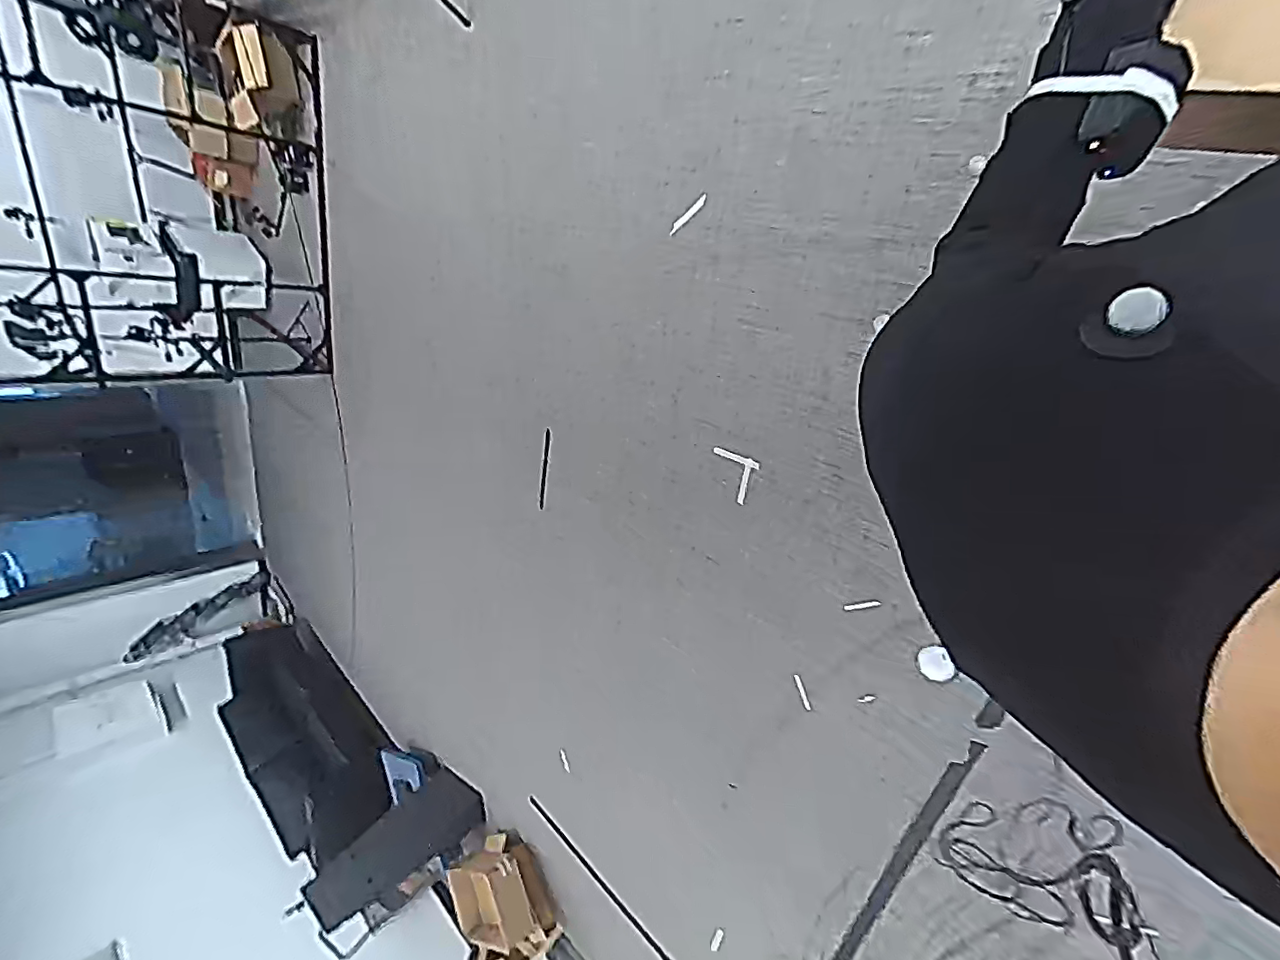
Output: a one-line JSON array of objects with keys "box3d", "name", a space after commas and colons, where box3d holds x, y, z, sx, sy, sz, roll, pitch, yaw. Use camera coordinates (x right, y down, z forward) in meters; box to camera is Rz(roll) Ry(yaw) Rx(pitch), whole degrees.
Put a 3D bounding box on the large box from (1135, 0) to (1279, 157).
[{"box3d": [0.630, -0.391, 0.334, 0.408, 0.320, 0.320, 27, 125, 32], "name": "large box"}]
